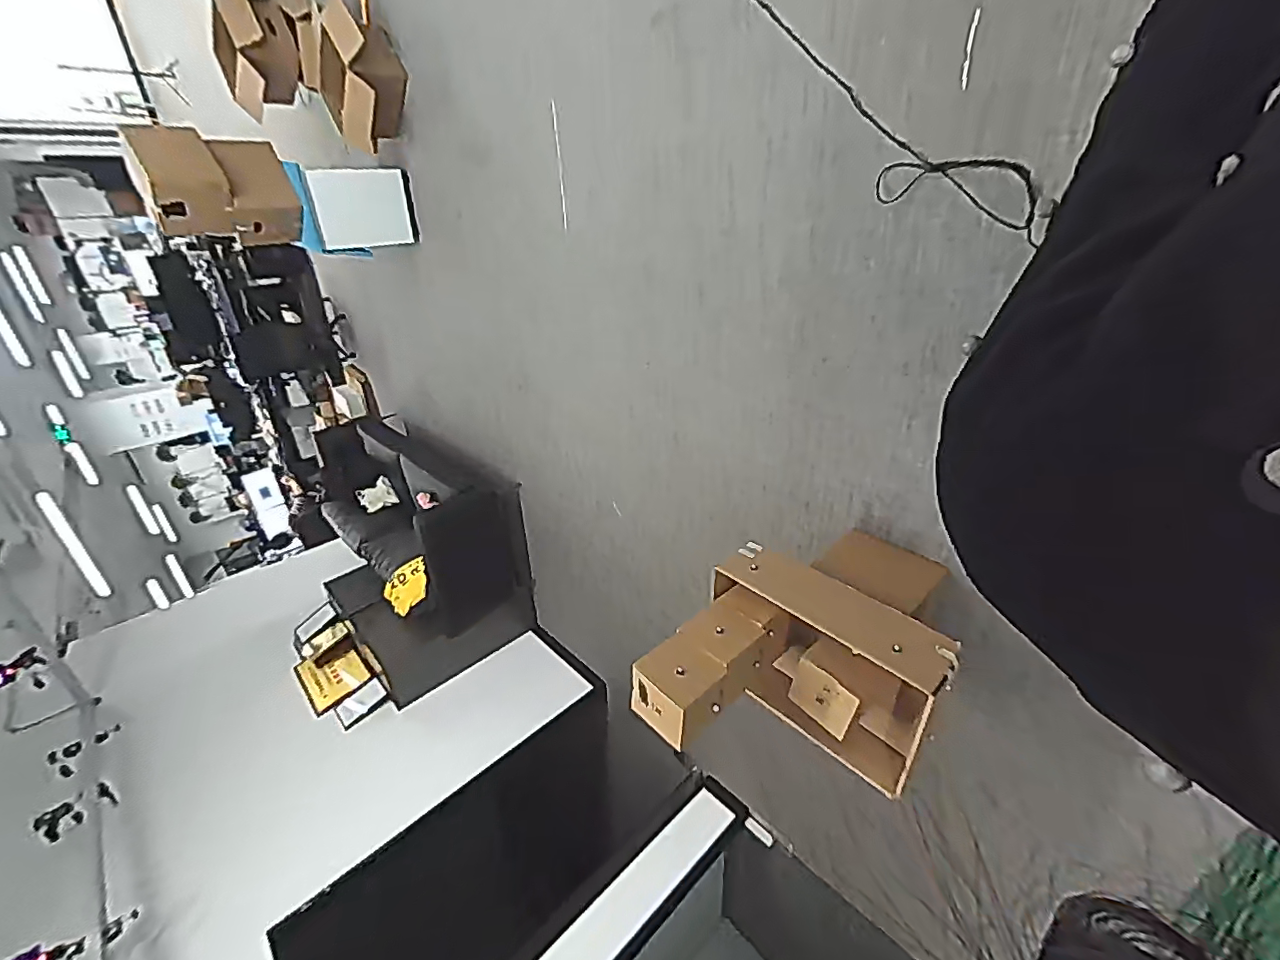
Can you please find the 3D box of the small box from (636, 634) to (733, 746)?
[{"bbox_3d":[0.109,0.519,1.371,0.179,0.176,0.168,30,131,38],"label":"small box"}]
